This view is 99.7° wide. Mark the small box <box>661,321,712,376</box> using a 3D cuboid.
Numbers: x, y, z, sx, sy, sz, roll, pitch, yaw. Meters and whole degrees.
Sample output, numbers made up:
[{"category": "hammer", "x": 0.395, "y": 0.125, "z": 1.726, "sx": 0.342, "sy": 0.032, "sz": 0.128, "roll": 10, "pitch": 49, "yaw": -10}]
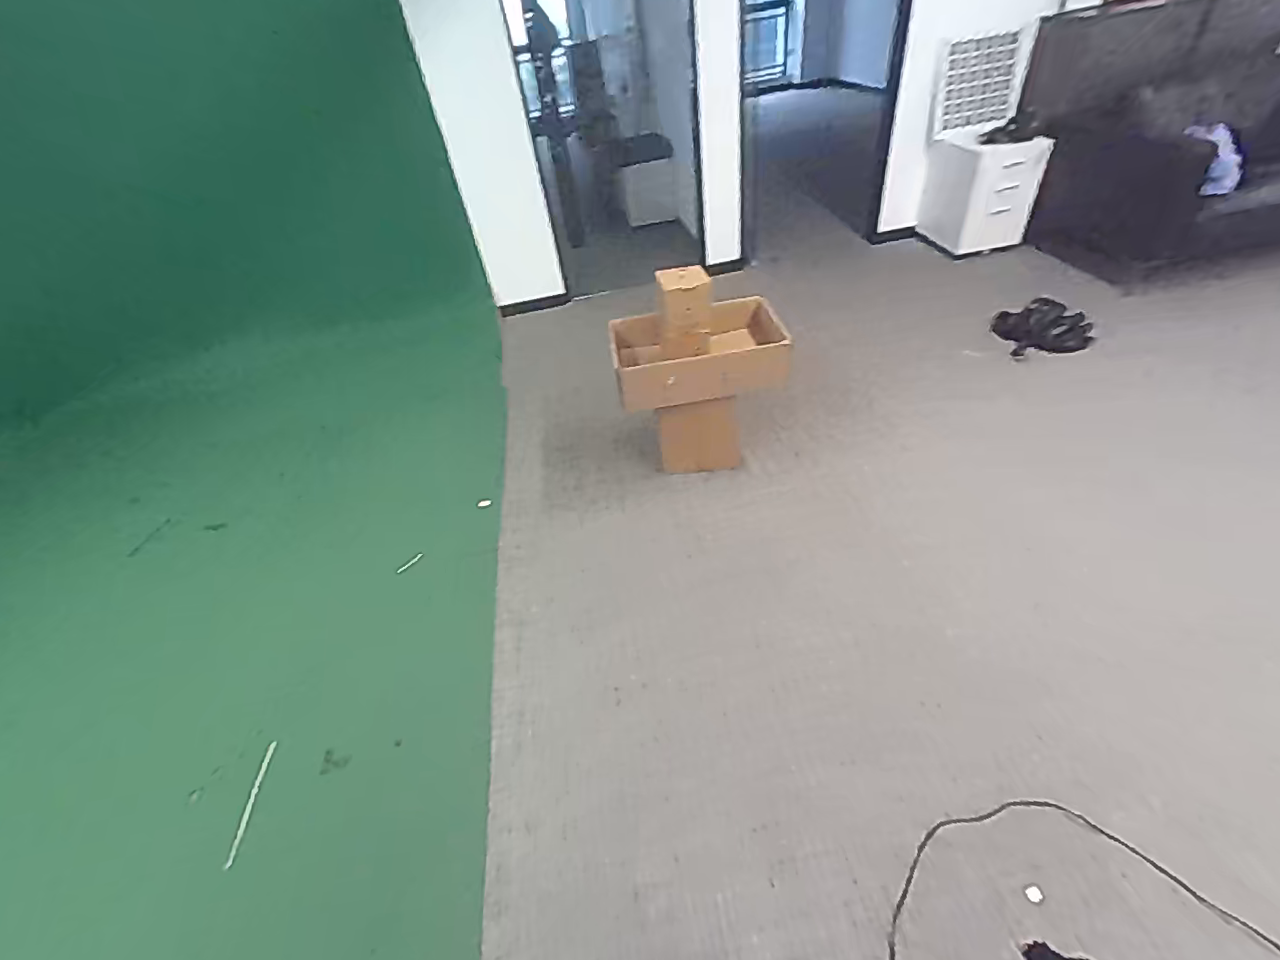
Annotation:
[{"category": "small box", "x": 0.176, "y": -0.502, "z": 2.043, "sx": 0.168, "sy": 0.176, "sz": 0.179, "roll": -8, "pitch": 39, "yaw": -2}]

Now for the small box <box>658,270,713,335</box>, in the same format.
[{"category": "small box", "x": 0.163, "y": -0.631, "z": 1.942, "sx": 0.168, "sy": 0.176, "sz": 0.179, "roll": -9, "pitch": 42, "yaw": -4}]
